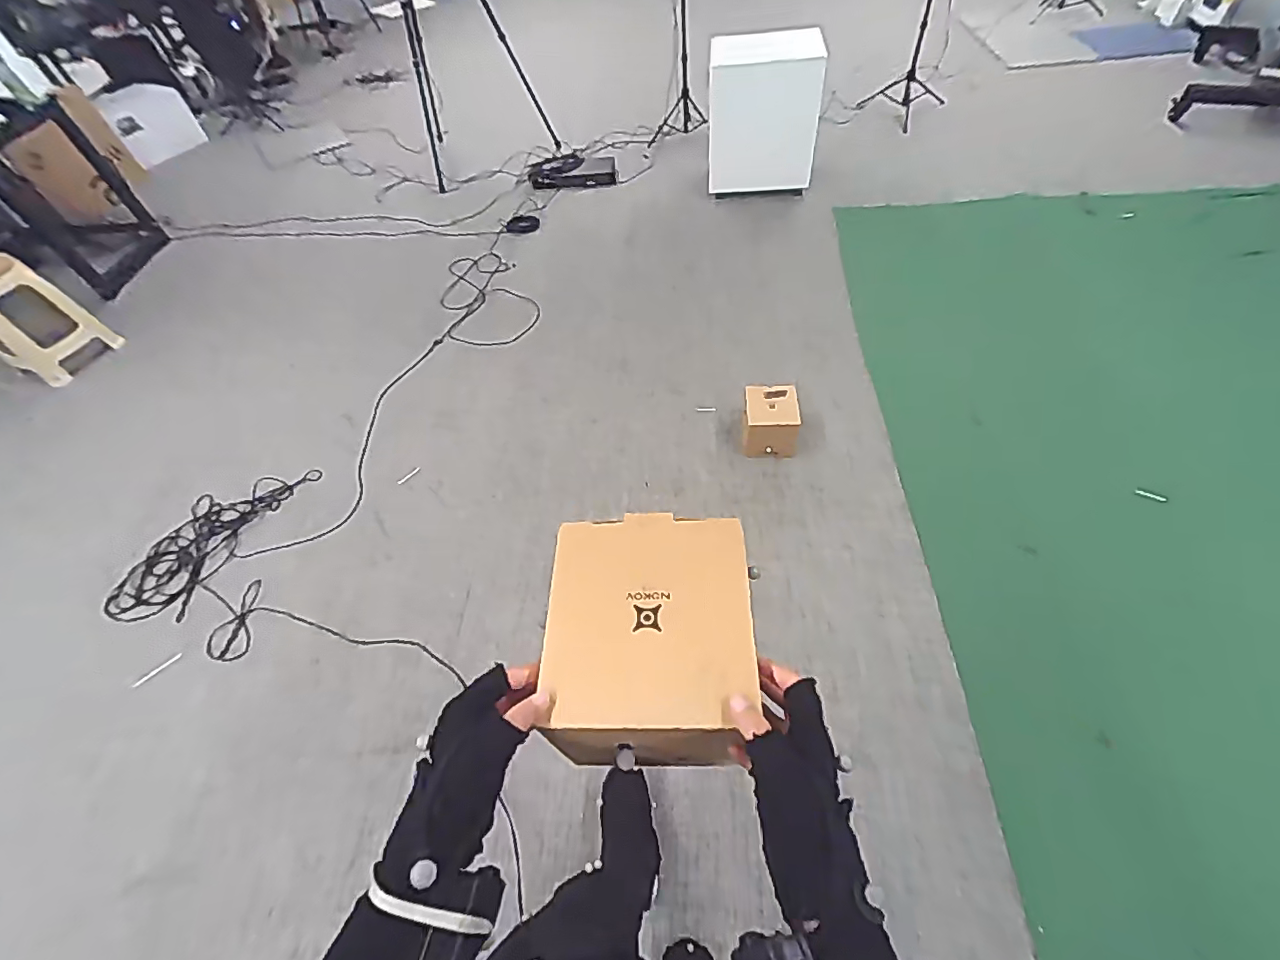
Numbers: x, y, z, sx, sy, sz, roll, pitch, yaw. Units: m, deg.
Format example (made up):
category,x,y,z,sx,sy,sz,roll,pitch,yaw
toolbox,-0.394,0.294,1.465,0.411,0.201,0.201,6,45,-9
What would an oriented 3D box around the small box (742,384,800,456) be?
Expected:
category,x,y,z,sx,sy,sz,roll,pitch,yaw
small box,0.431,-0.200,1.809,0.168,0.176,0.179,0,55,6
